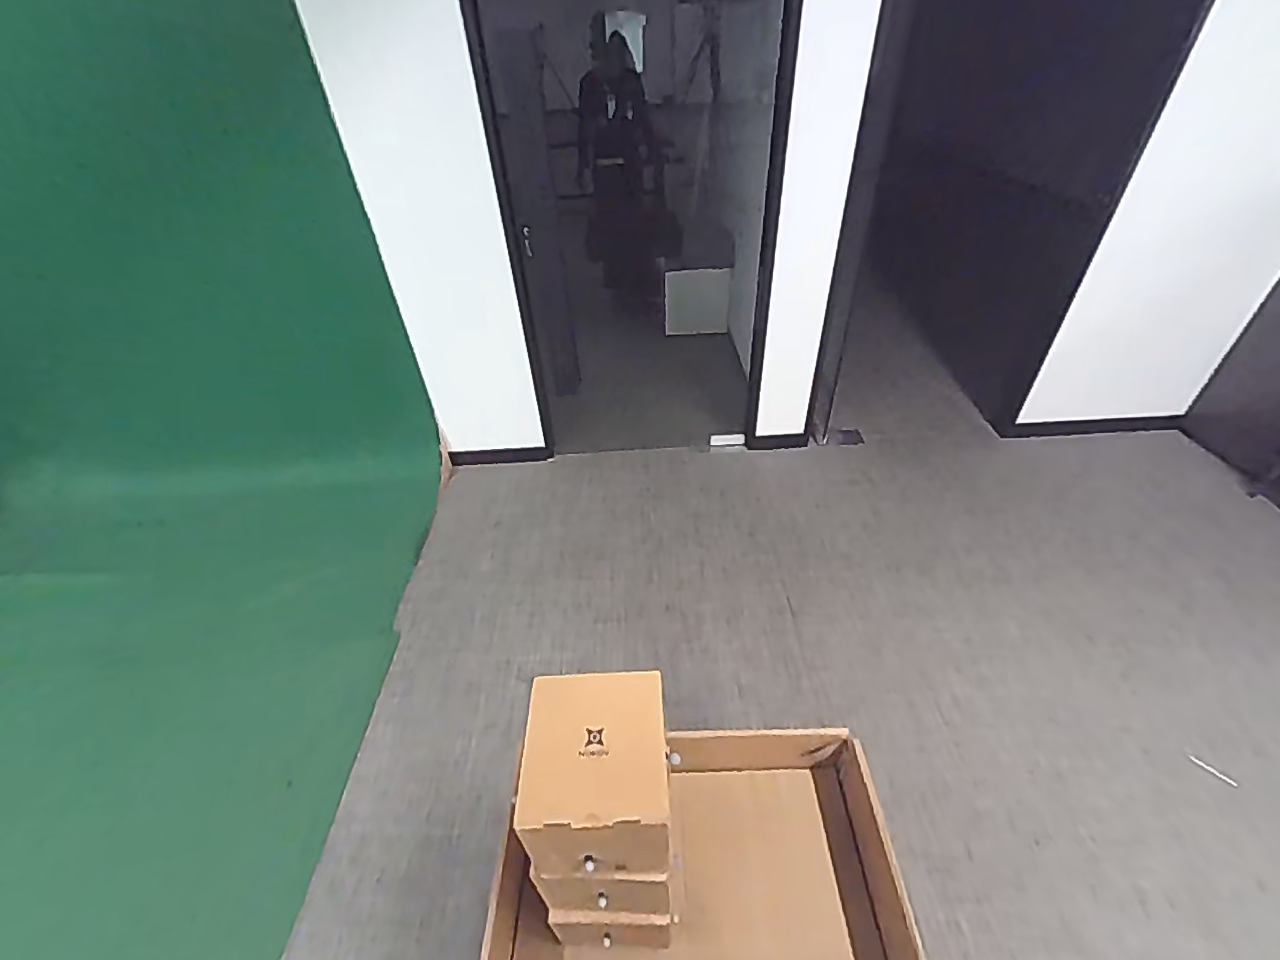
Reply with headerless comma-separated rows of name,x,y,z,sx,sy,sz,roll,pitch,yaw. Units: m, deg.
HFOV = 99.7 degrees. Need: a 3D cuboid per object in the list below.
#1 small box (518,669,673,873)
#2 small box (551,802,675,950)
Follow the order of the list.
small box,-0.046,0.363,0.679,0.168,0.176,0.179,-3,39,1
small box,-0.033,0.629,0.868,0.179,0.176,0.168,-1,39,3
